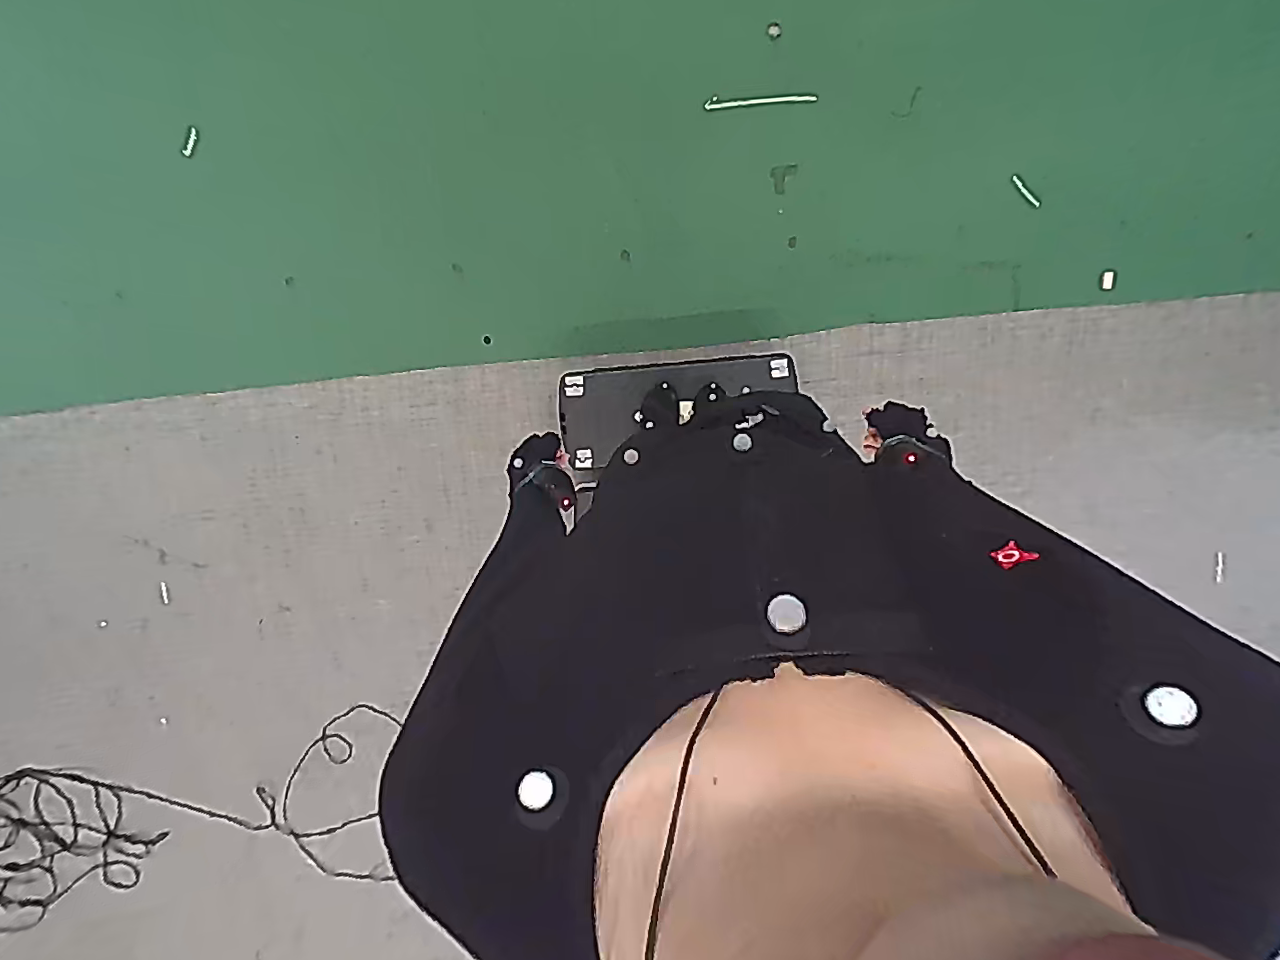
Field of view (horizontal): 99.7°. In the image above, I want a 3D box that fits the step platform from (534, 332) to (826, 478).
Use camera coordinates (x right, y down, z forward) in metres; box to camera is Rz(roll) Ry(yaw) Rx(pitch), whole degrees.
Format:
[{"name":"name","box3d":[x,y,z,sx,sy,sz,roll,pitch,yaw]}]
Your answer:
[{"name":"step platform","box3d":[0.095,-0.189,1.354,0.684,0.204,0.286,-6,100,0]}]
